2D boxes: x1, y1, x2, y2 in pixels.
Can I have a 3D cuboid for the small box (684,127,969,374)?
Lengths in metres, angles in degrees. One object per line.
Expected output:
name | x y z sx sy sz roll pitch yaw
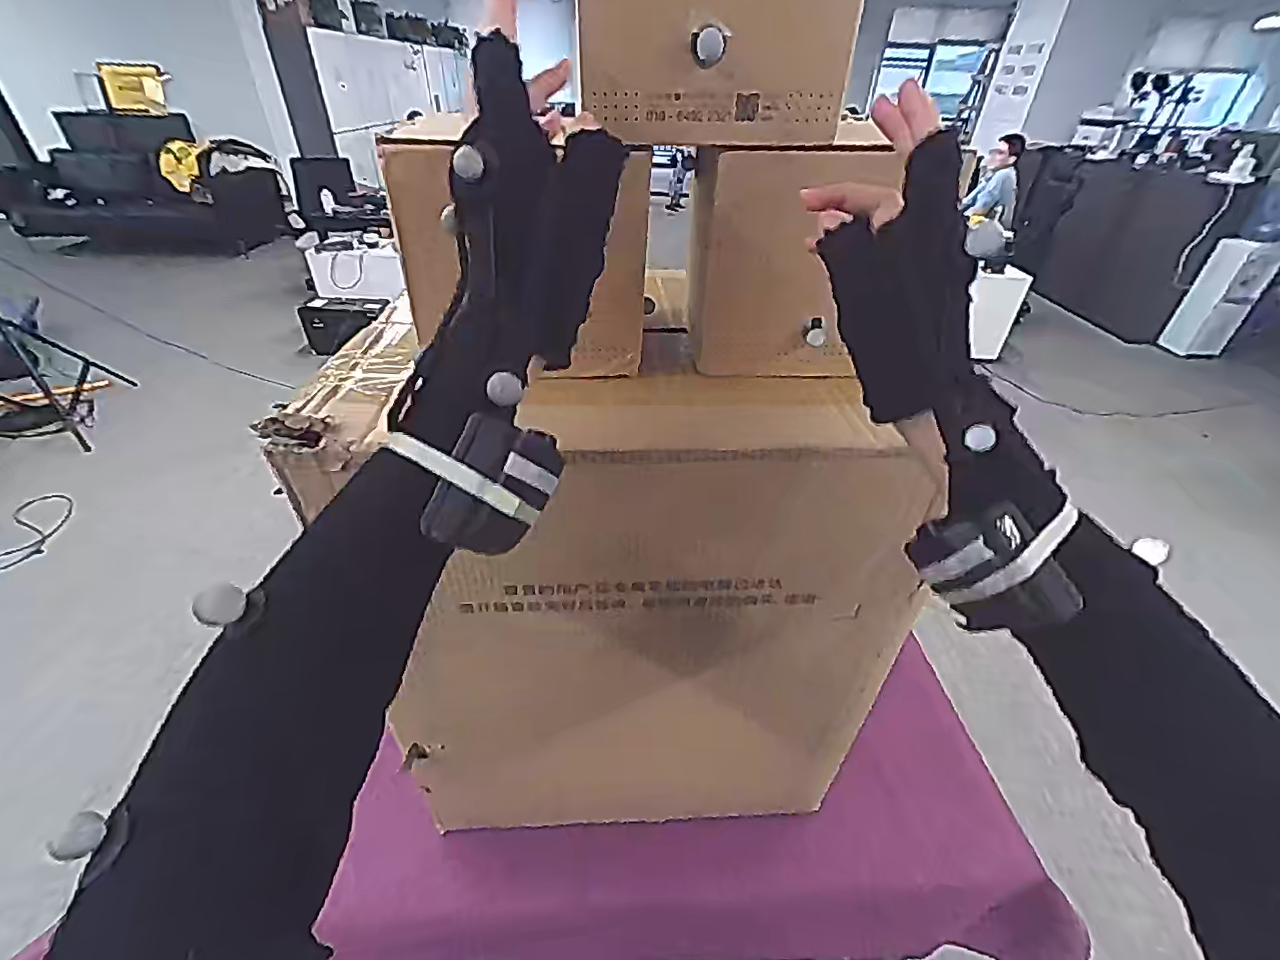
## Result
small box | 0.136 -0.202 0.474 0.179 0.176 0.168 -1 37 -1

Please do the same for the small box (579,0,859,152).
small box | 0.043 -0.334 0.372 0.168 0.176 0.179 -1 38 -3
